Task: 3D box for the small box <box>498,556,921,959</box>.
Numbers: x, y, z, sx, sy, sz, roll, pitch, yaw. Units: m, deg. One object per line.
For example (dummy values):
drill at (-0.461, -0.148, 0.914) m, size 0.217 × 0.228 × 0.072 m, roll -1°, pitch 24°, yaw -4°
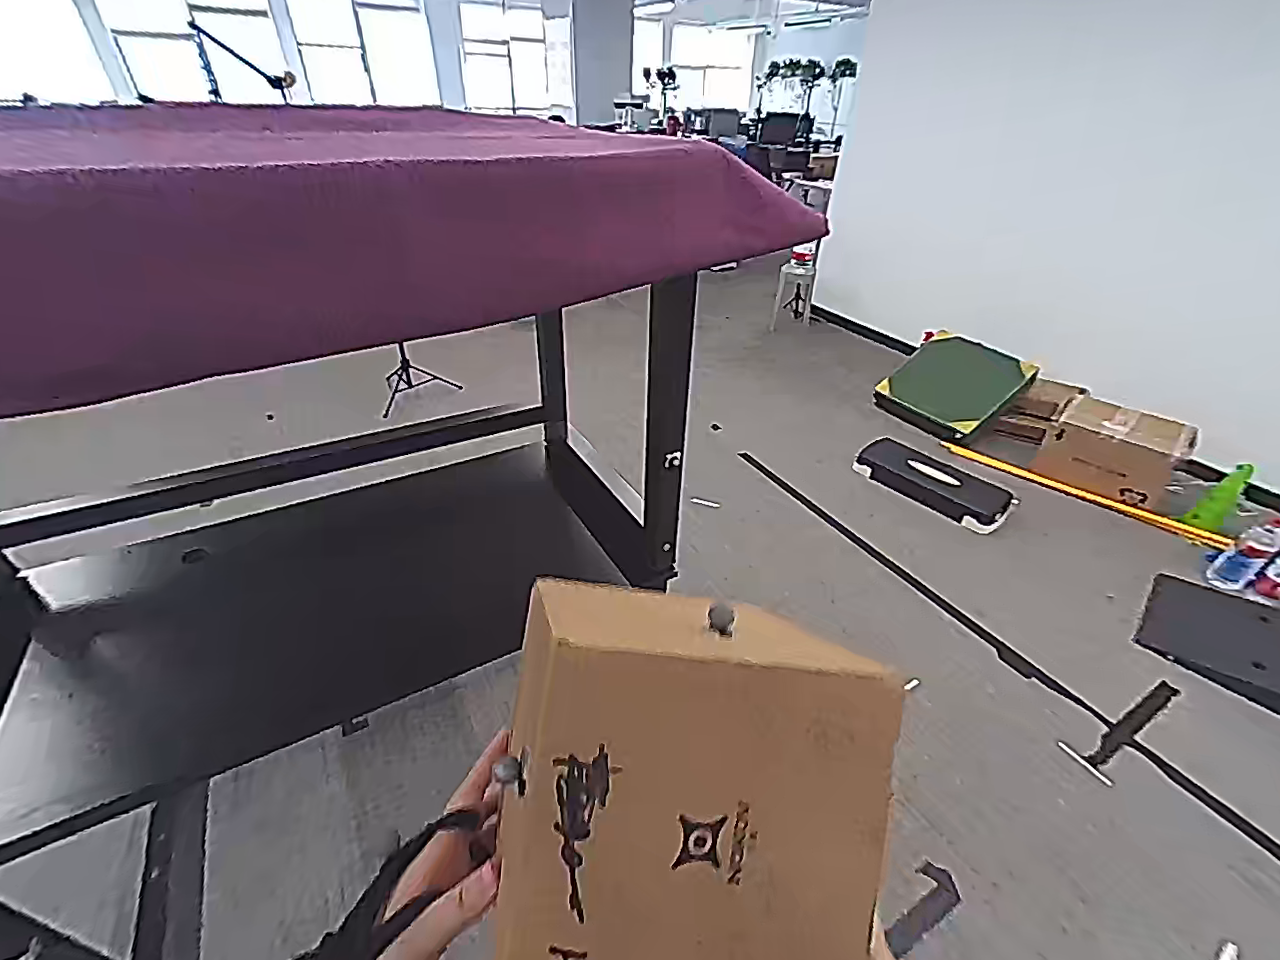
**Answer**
small box at (0.020, 0.142, 0.313) m, size 0.179 × 0.168 × 0.176 m, roll 10°, pitch -4°, yaw -14°
